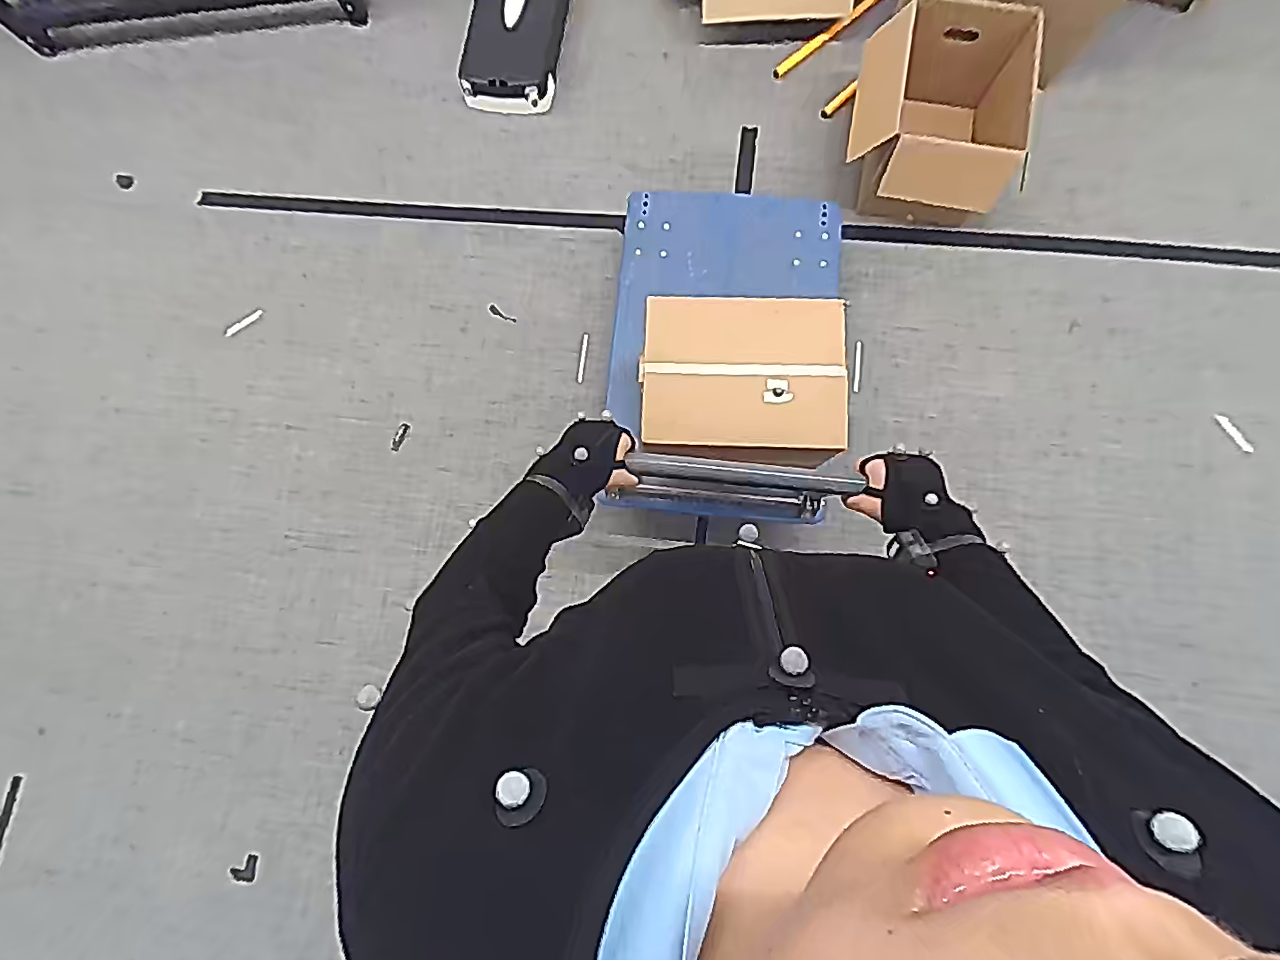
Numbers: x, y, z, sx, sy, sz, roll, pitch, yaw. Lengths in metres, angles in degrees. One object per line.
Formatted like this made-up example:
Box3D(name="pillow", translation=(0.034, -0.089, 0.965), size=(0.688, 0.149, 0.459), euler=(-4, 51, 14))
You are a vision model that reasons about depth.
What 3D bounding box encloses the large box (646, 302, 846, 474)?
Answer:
Box3D(name="large box", translation=(0.215, -0.192, 1.239), size=(0.408, 0.320, 0.320), euler=(2, 82, 2))
